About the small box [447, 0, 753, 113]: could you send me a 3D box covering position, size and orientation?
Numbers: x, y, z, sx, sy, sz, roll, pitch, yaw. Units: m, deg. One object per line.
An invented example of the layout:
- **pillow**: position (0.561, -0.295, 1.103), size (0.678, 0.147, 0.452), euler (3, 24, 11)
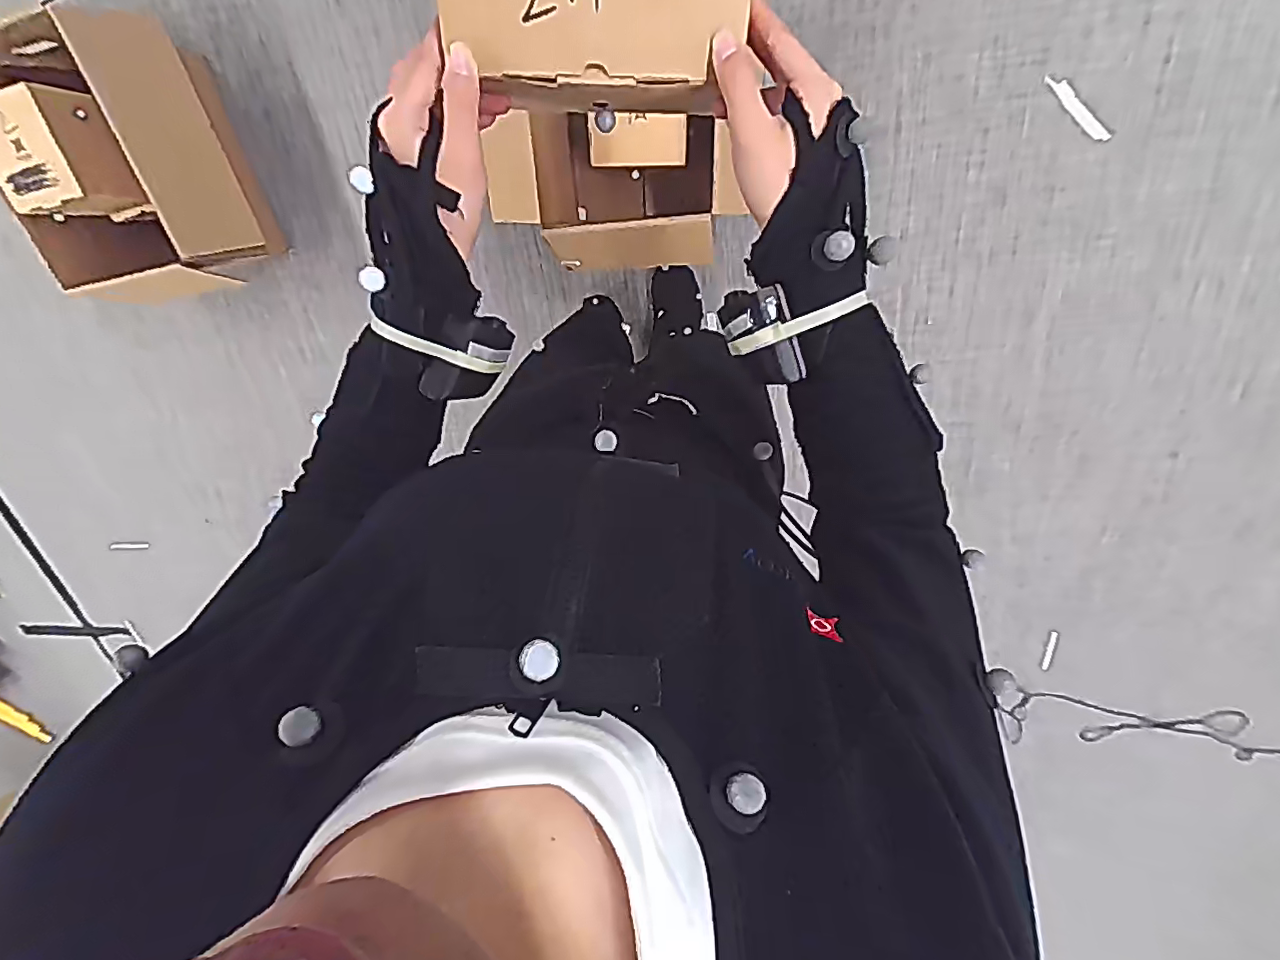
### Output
- **small box**: position (-0.021, -0.341, 0.331), size (0.168, 0.176, 0.179), euler (1, 120, 0)
